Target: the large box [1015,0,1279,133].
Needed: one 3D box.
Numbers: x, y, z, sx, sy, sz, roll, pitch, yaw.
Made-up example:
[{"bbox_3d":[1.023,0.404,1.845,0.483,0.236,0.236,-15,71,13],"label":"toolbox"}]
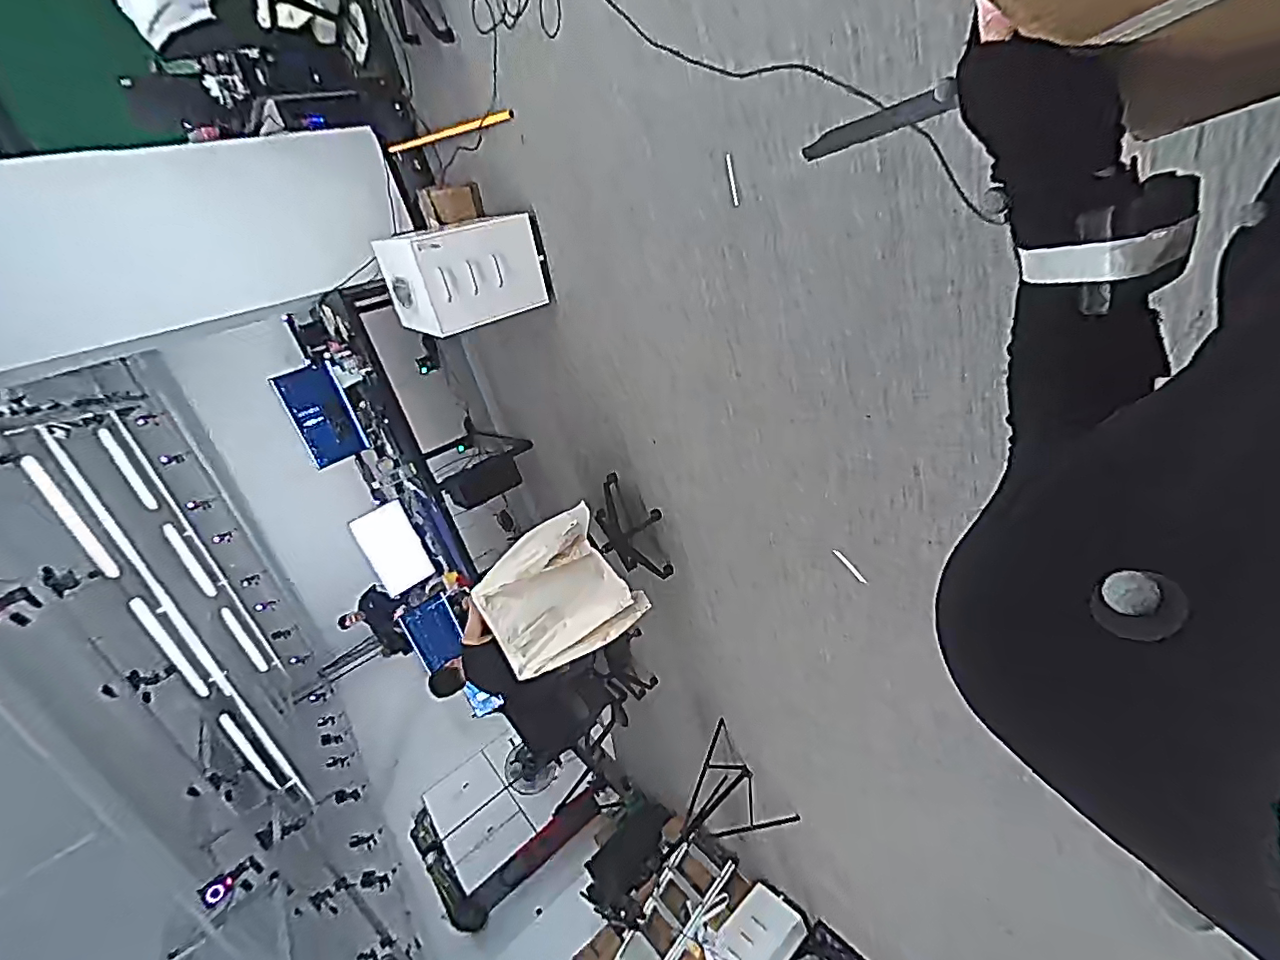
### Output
[{"bbox_3d":[0.320,-0.362,0.104,0.408,0.320,0.320,5,99,54],"label":"large box"}]
